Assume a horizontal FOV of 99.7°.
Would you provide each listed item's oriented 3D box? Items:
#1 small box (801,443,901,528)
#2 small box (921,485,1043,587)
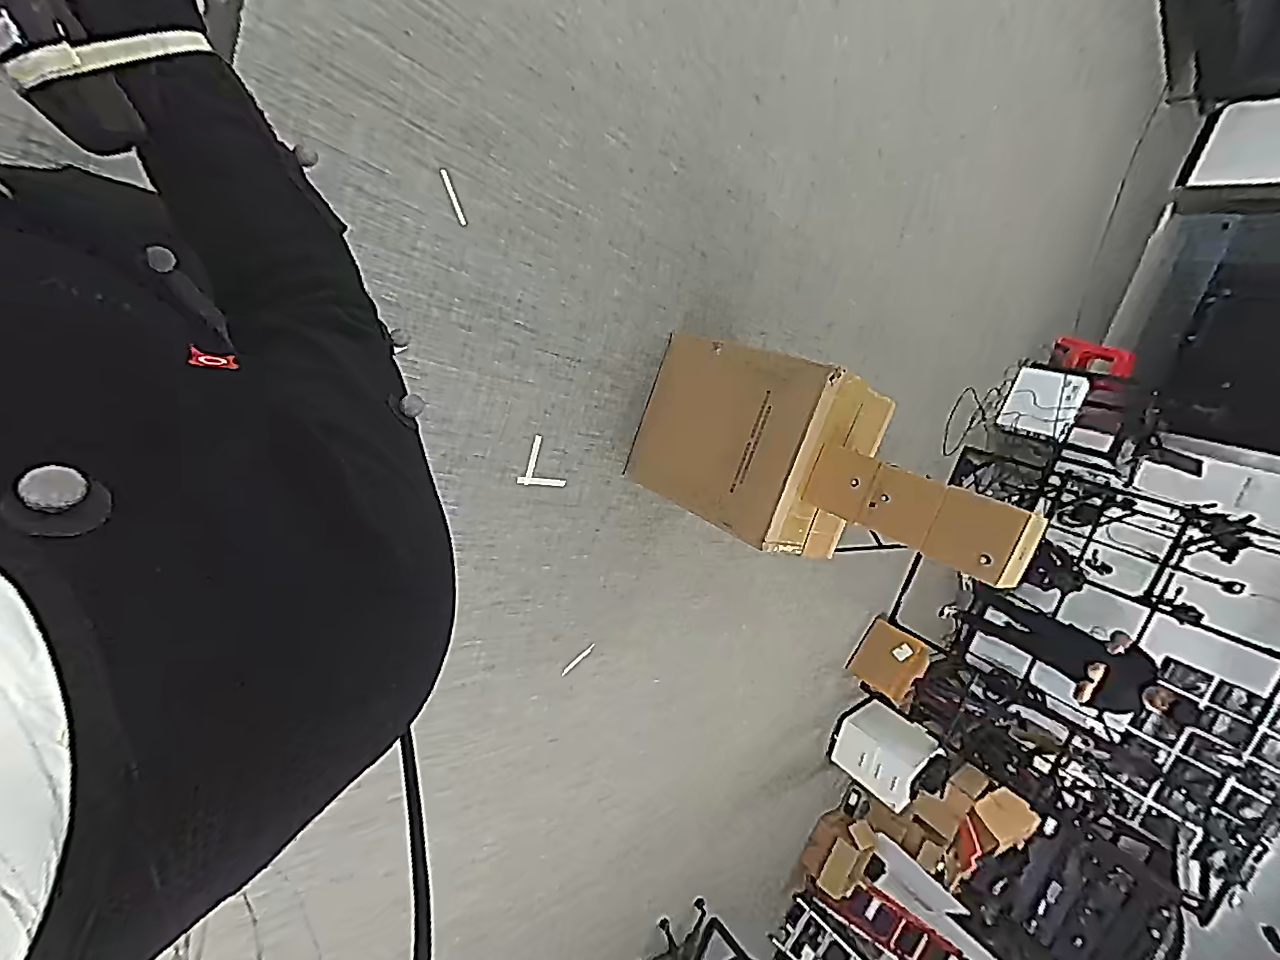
[{"bbox_3d":[0.568,0.013,1.467,0.168,0.176,0.179,11,103,-43],"label":"small box"},{"bbox_3d":[0.776,0.129,1.239,0.168,0.176,0.179,10,103,-43],"label":"small box"}]
